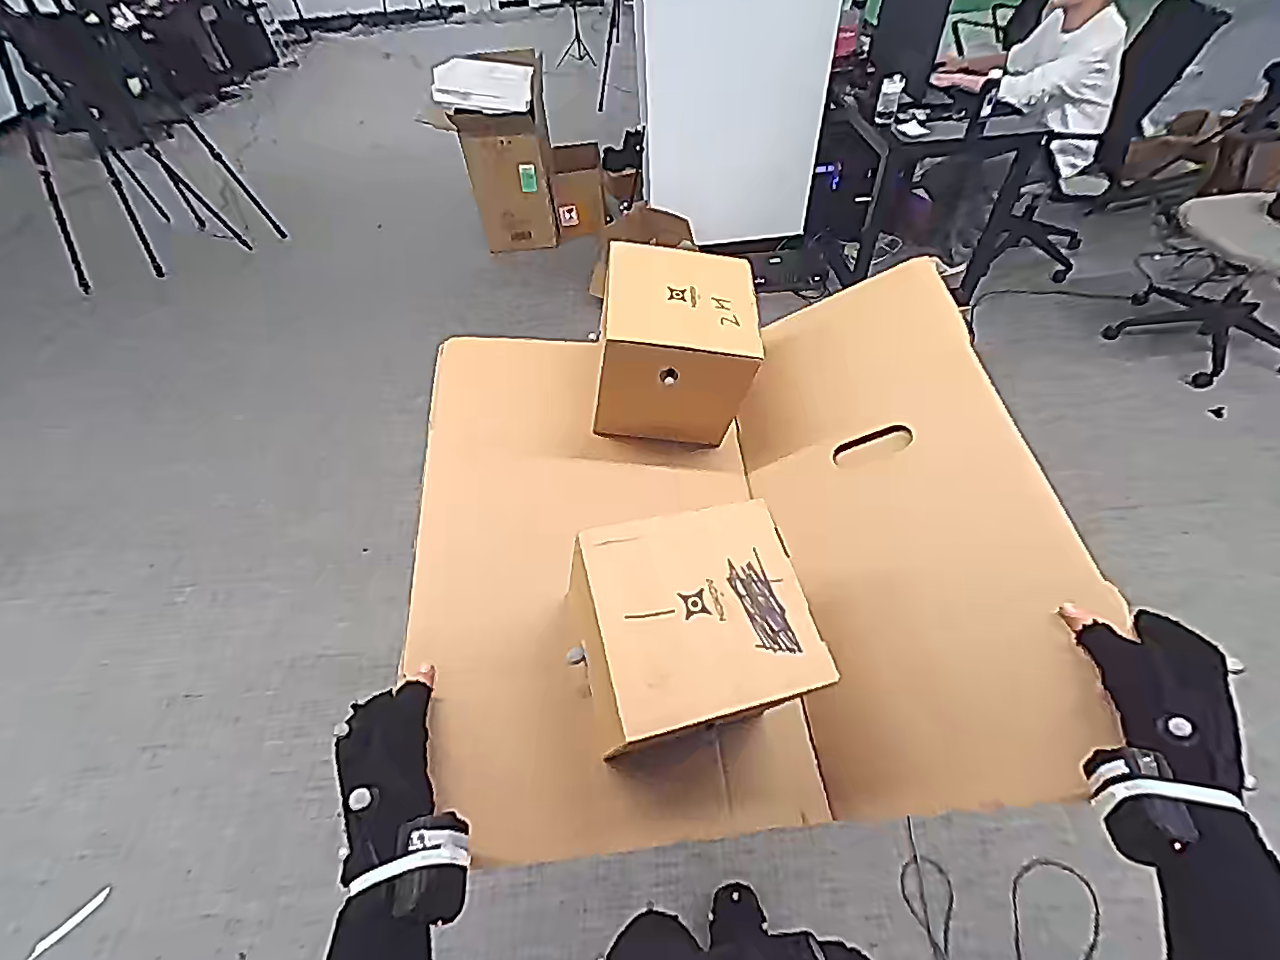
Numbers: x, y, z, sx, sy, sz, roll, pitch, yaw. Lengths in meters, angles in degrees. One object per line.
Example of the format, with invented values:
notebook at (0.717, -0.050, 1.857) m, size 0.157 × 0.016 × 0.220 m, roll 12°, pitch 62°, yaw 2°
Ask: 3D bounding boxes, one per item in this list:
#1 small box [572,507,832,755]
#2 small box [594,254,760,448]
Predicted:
small box at (0.039, 0.145, 0.509) m, size 0.179 × 0.176 × 0.168 m, roll -9°, pitch 61°, yaw -15°
small box at (0.037, -0.156, 0.693) m, size 0.179 × 0.176 × 0.168 m, roll 6°, pitch 58°, yaw -8°
